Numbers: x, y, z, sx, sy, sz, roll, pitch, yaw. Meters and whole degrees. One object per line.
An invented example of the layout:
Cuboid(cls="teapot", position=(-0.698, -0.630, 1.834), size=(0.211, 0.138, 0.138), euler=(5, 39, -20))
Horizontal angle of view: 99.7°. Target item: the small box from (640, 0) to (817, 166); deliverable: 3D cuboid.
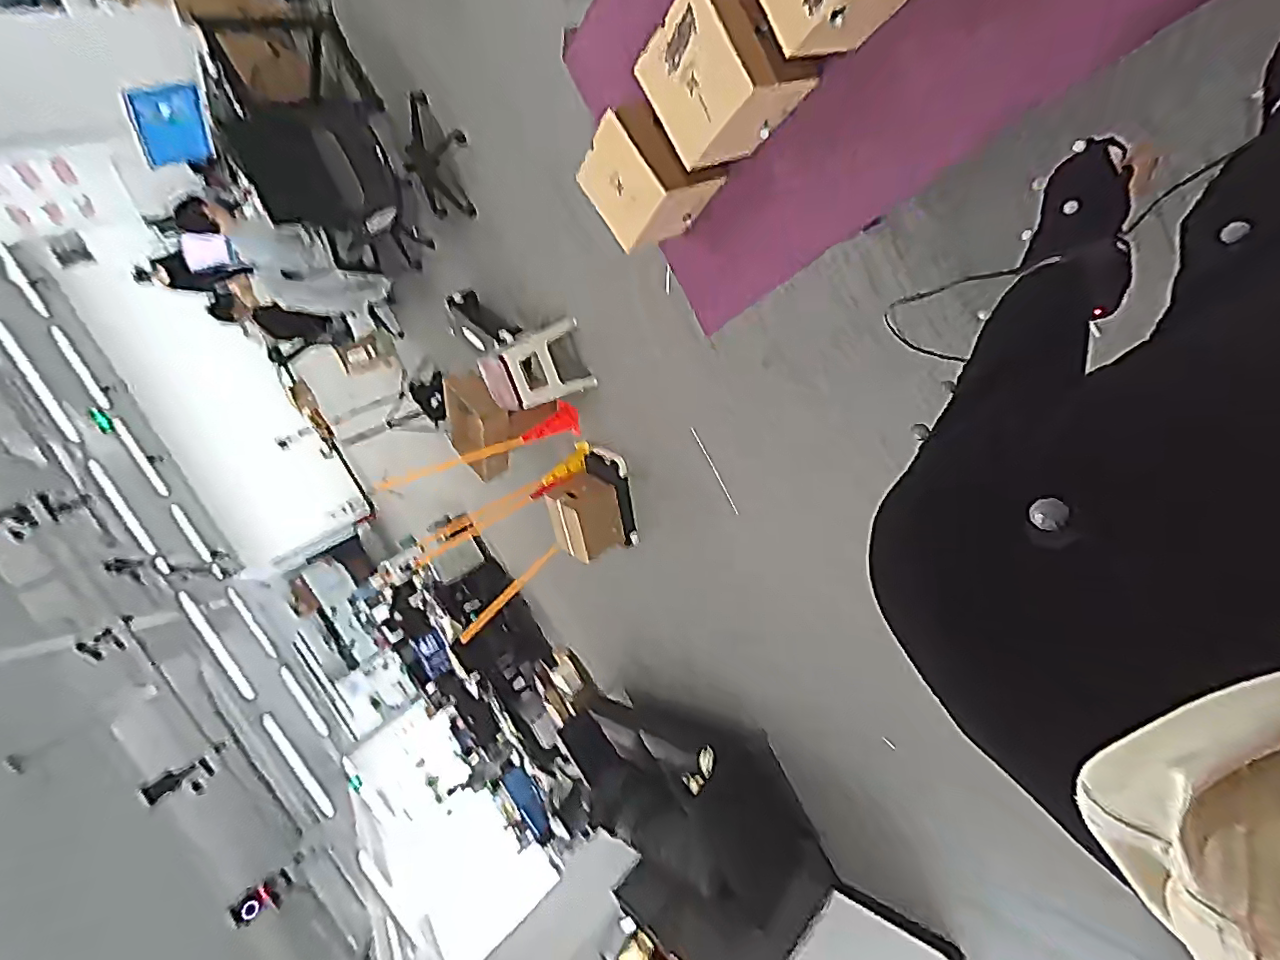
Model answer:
Cuboid(cls="small box", position=(0.137, -0.632, 0.841), size=(0.179, 0.176, 0.168), euler=(60, 150, -6))

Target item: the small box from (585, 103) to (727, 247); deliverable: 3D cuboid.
Cuboid(cls="small box", position=(0.030, -0.586, 1.036), size=(0.179, 0.176, 0.168), euler=(58, 150, -2))
